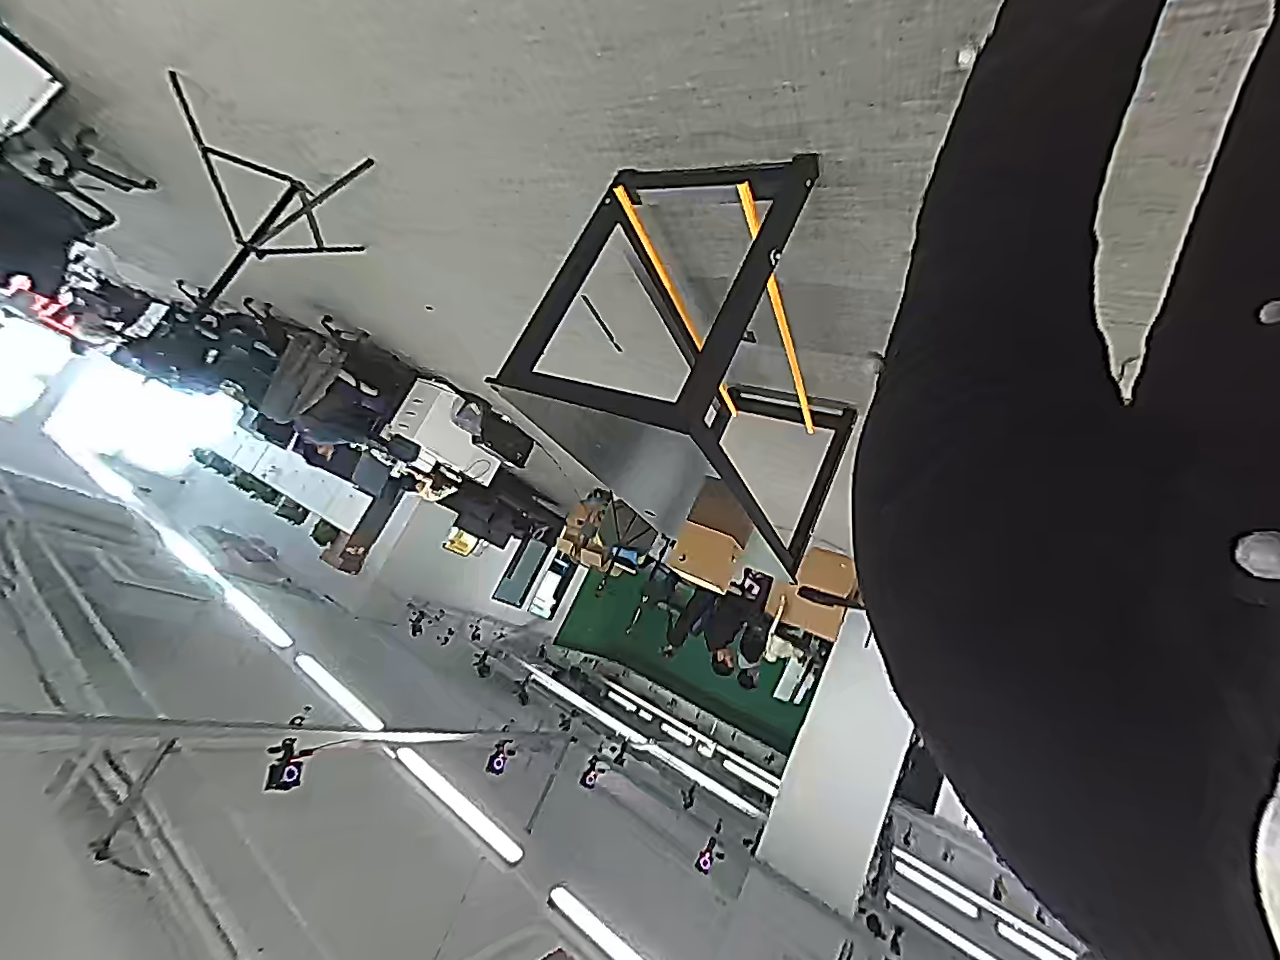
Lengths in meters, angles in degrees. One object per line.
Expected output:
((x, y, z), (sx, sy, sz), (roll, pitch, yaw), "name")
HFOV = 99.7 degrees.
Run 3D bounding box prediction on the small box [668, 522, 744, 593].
((0.224, 0.255, 1.814), (0.179, 0.176, 0.168), (18, 166, 31), "small box")
